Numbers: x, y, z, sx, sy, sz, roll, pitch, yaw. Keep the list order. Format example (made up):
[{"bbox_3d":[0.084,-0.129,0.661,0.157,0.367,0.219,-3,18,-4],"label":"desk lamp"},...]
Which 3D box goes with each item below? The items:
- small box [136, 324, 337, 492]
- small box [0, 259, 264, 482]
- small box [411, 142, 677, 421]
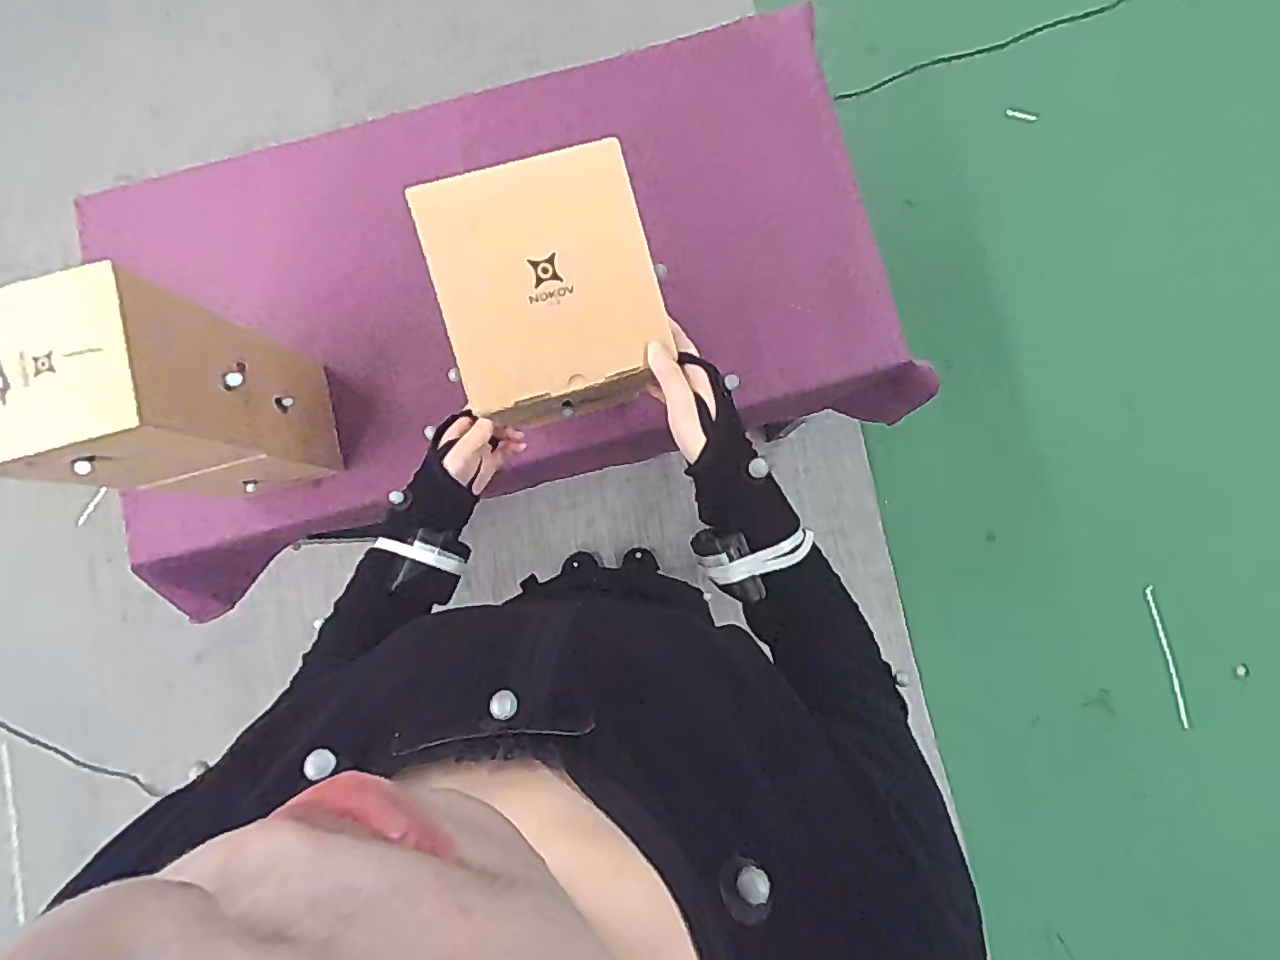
[{"bbox_3d":[-0.547,-0.085,0.740,0.168,0.176,0.179,-14,84,-1],"label":"small box"},{"bbox_3d":[-0.552,-0.101,0.576,0.179,0.176,0.168,-14,84,-1],"label":"small box"},{"bbox_3d":[-0.079,-0.159,0.489,0.168,0.176,0.179,-16,96,-4],"label":"small box"}]
